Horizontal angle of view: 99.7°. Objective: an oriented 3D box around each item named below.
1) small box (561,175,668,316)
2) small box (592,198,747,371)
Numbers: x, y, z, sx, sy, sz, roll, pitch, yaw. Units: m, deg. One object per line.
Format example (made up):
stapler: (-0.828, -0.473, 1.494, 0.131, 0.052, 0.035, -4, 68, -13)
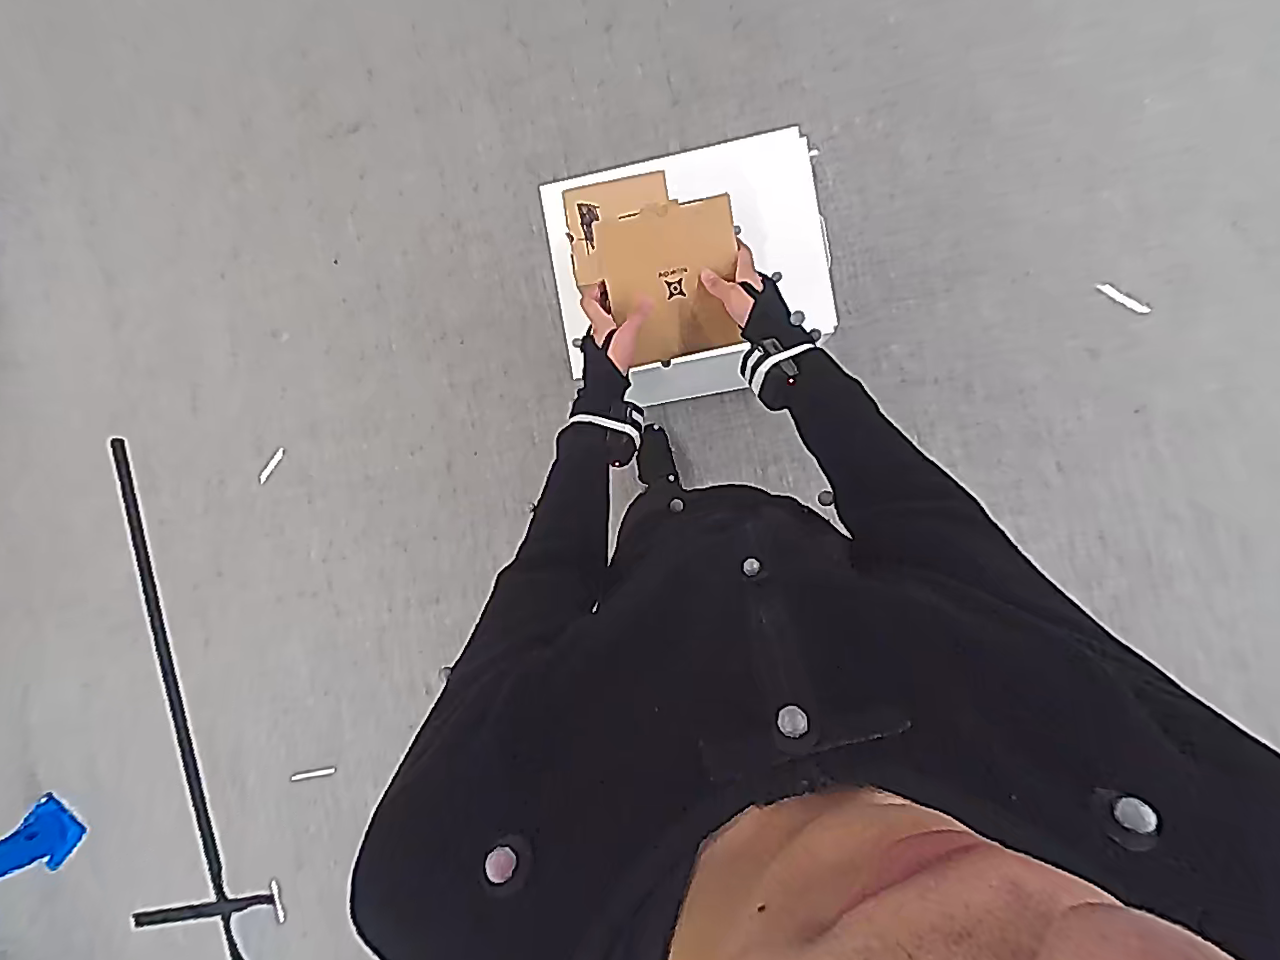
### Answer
small box: (-0.028, -0.407, 0.971, 0.179, 0.176, 0.168, -9, 90, 4)
small box: (0.036, -0.255, 0.732, 0.168, 0.176, 0.179, -13, 105, 0)
